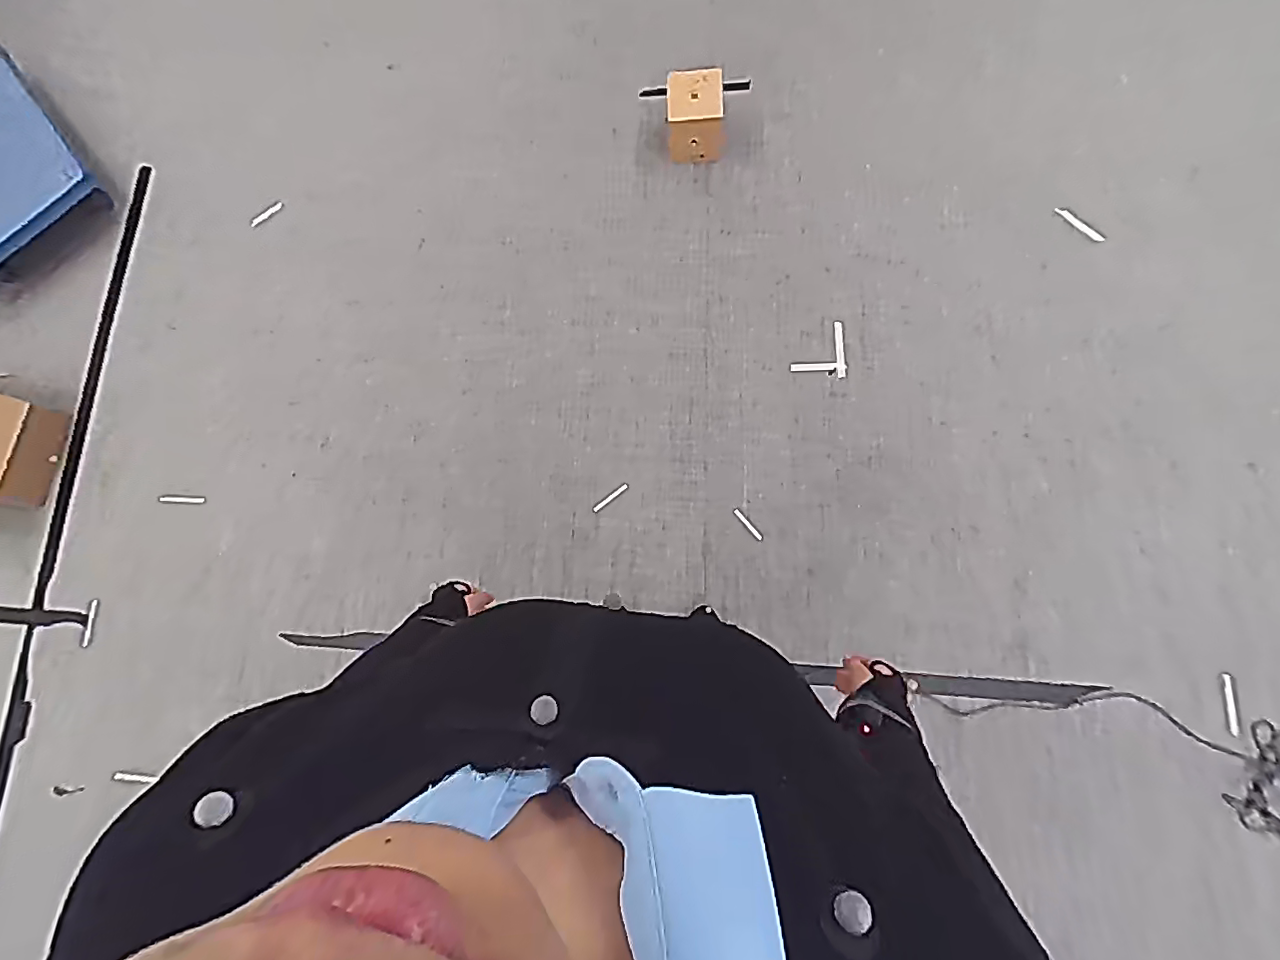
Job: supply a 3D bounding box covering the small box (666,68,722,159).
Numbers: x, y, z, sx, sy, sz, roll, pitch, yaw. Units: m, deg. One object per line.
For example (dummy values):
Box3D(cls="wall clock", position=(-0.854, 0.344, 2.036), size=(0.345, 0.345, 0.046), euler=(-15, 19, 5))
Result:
Box3D(cls="small box", position=(0.169, -1.129, 1.682), size=(0.168, 0.176, 0.179), euler=(-1, 78, 5))
